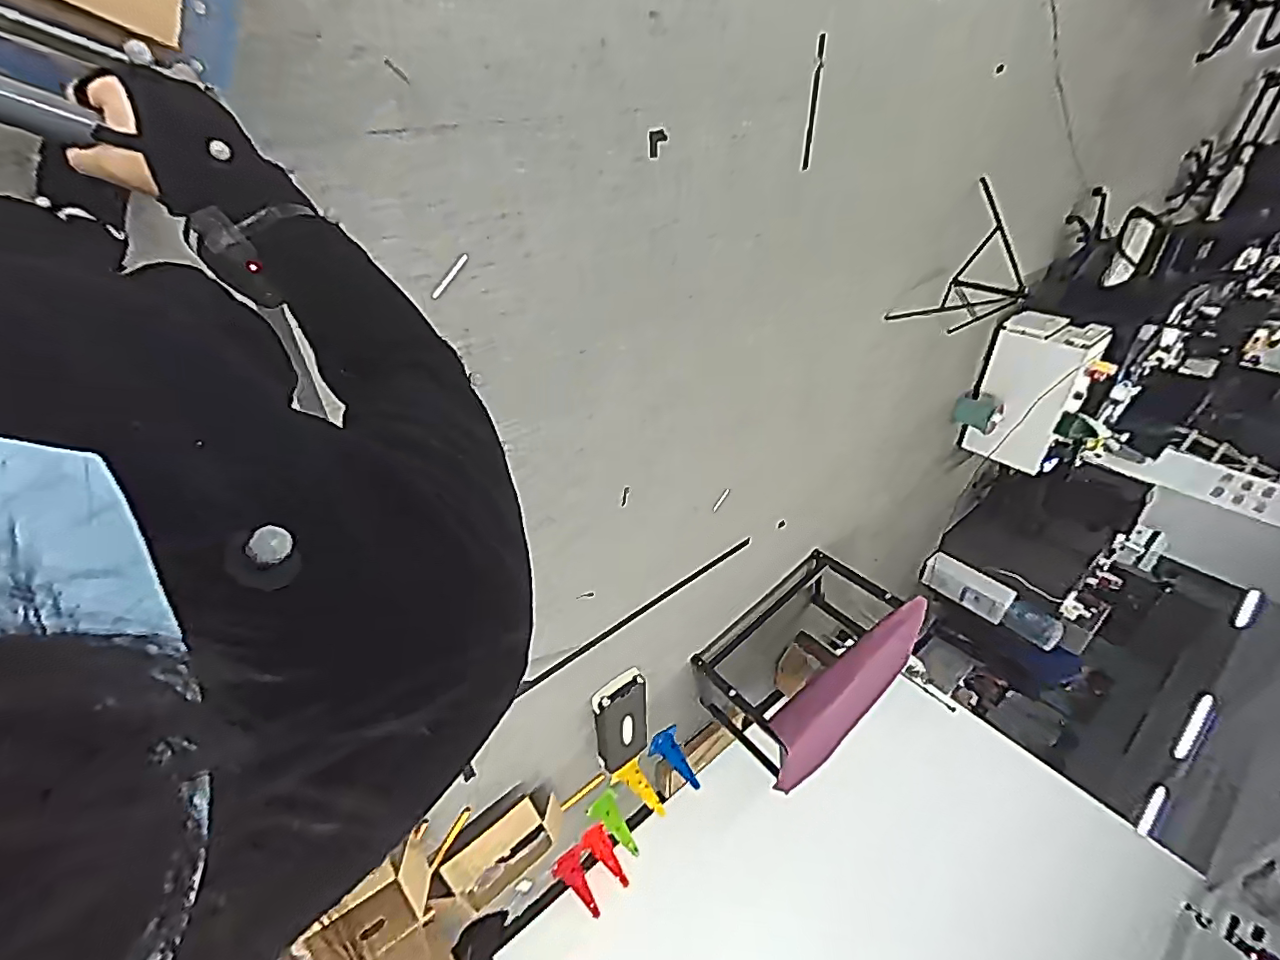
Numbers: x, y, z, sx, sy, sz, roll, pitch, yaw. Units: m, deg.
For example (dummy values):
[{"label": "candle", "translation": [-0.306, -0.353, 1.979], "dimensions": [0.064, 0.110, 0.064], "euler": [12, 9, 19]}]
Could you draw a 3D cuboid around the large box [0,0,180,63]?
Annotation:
[{"label": "large box", "translation": [-0.742, -0.710, 0.551], "dimensions": [0.408, 0.320, 0.320], "euler": [1, 116, -46]}]
